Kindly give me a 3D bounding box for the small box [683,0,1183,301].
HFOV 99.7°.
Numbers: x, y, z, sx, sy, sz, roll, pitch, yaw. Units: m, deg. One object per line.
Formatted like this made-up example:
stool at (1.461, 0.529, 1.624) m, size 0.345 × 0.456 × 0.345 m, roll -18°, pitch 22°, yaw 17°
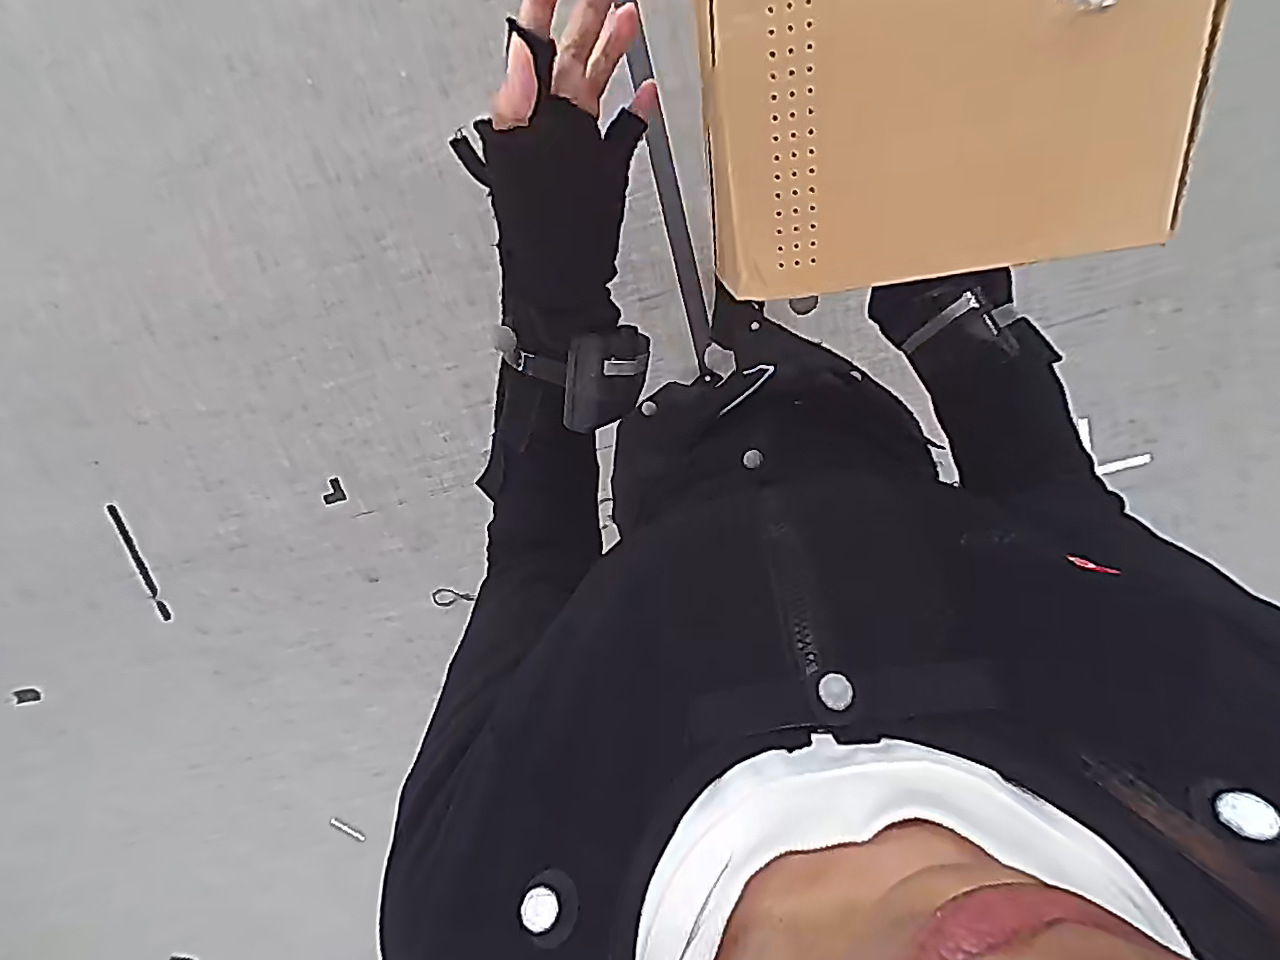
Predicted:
small box at (0.110, -0.199, 0.268) m, size 0.176 × 0.168 × 0.179 m, roll -7°, pitch 114°, yaw 7°
